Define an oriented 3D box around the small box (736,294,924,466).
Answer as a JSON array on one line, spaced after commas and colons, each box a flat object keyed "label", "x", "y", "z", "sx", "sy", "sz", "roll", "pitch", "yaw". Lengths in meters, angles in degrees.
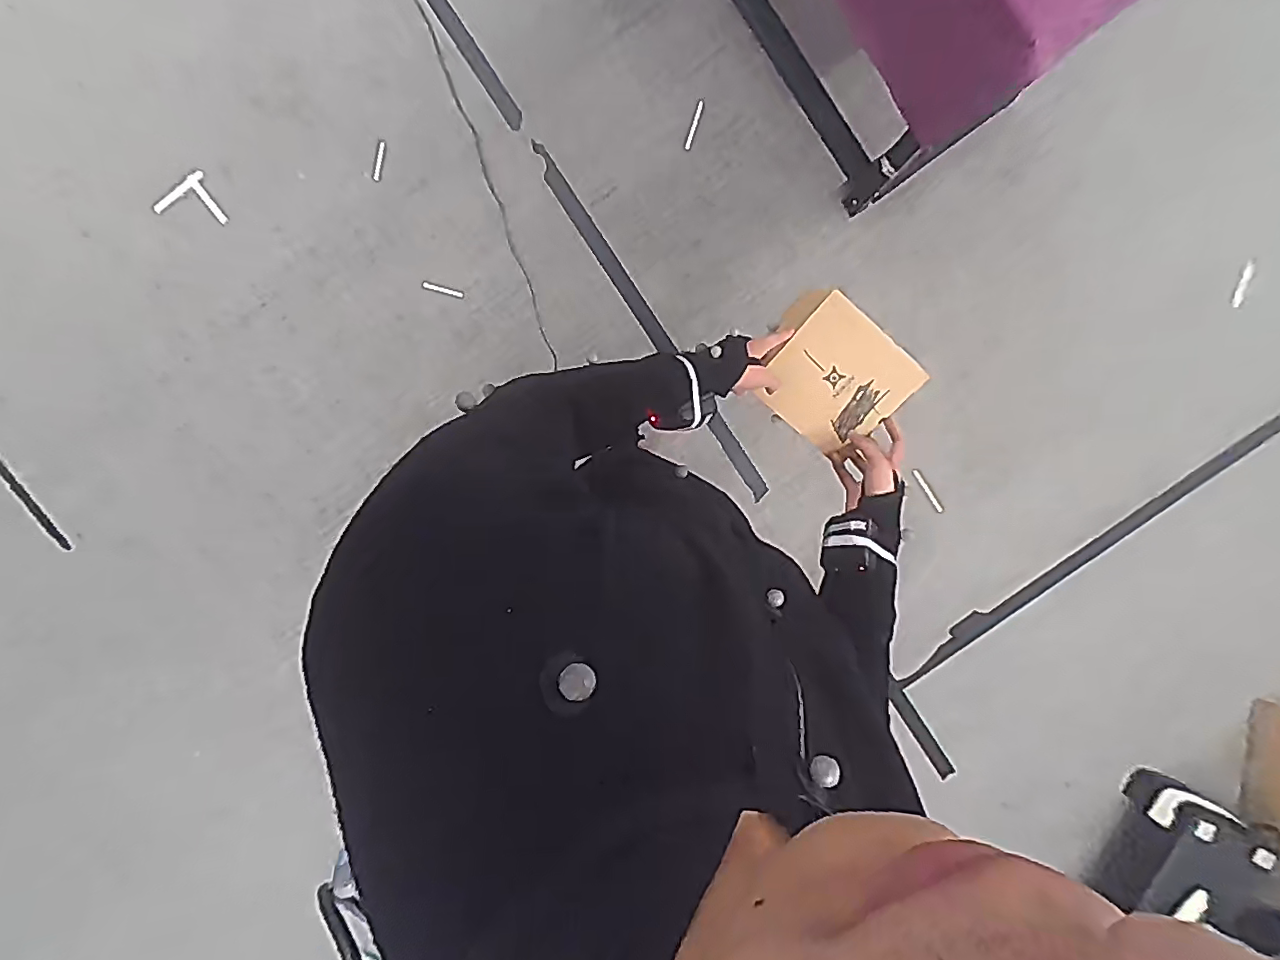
[{"label": "small box", "x": 0.263, "y": -0.153, "z": 0.791, "sx": 0.179, "sy": 0.176, "sz": 0.168, "roll": 38, "pitch": 107, "yaw": -9}]
